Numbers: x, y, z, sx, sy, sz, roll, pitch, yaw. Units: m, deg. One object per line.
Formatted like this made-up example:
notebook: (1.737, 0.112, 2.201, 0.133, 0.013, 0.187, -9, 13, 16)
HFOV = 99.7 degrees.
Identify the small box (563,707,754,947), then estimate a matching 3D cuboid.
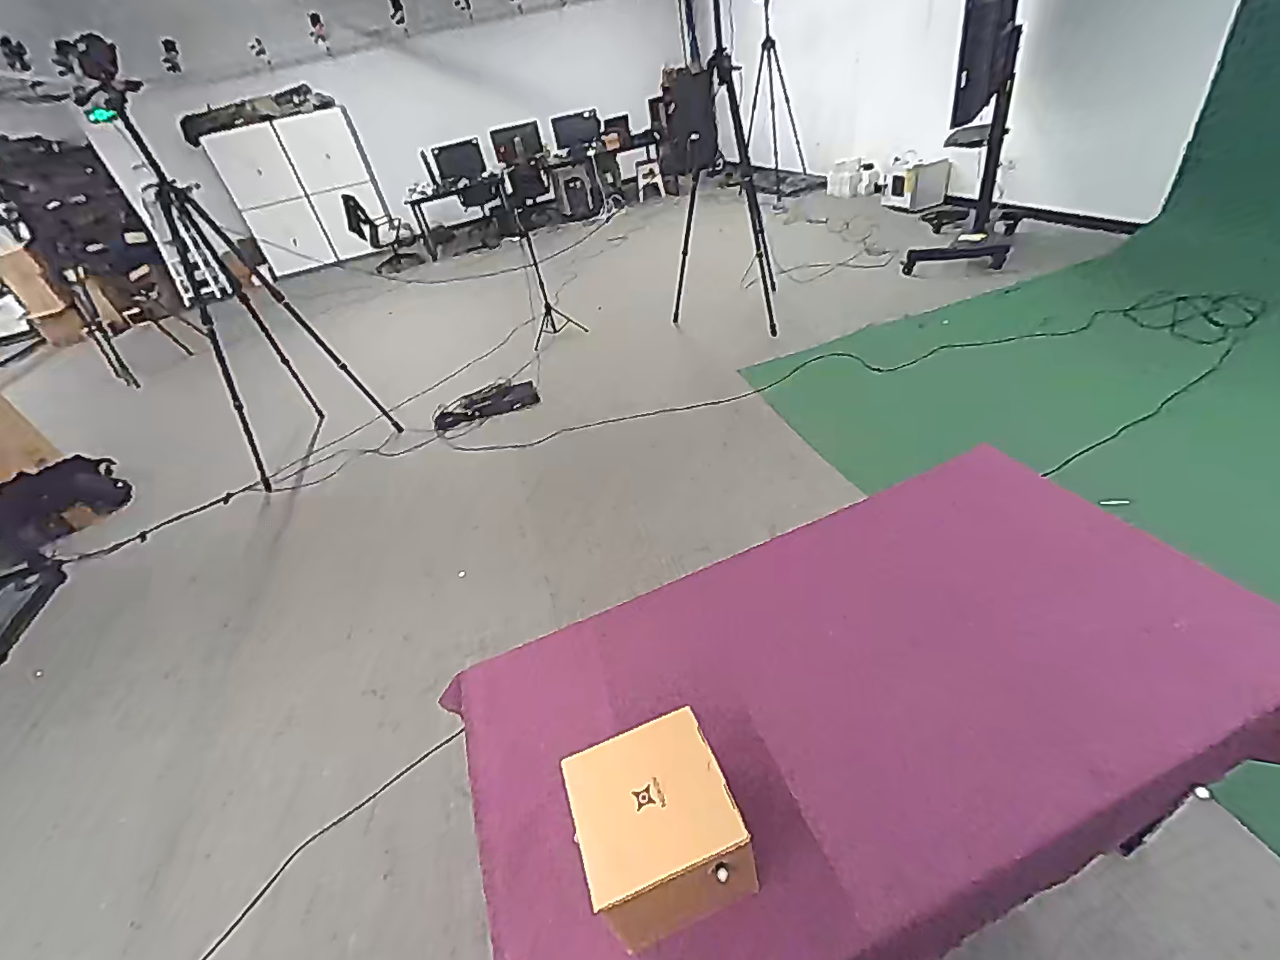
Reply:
small box: (0.025, 0.426, 0.668, 0.179, 0.176, 0.168, -20, 37, -9)
